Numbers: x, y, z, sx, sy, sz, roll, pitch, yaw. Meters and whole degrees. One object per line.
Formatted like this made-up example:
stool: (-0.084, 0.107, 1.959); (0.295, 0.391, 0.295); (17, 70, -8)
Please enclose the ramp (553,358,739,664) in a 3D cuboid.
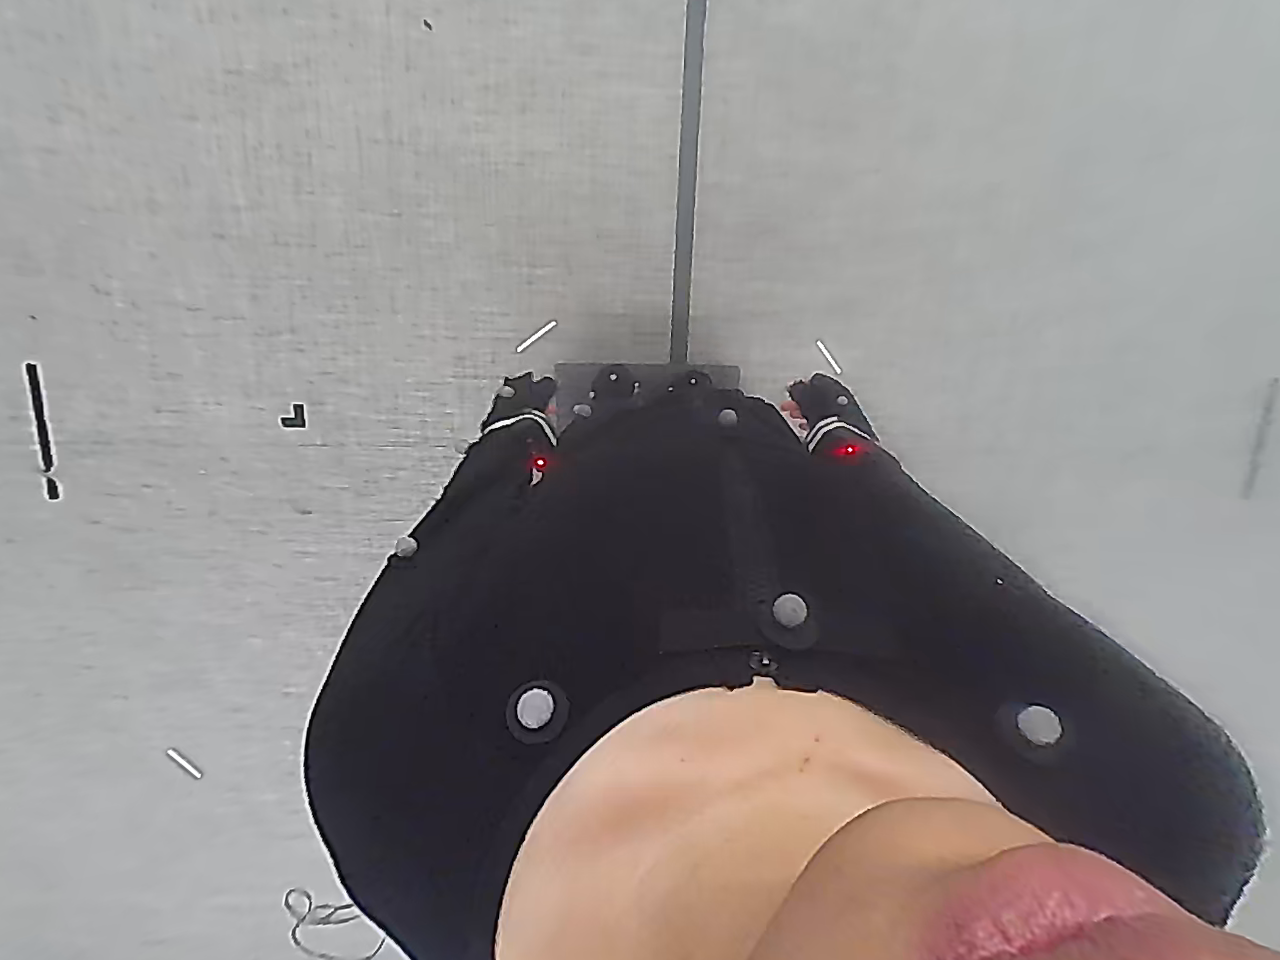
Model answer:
ramp: (0.012, 0.142, 1.599); (0.509, 0.206, 0.991); (-2, 103, -2)
